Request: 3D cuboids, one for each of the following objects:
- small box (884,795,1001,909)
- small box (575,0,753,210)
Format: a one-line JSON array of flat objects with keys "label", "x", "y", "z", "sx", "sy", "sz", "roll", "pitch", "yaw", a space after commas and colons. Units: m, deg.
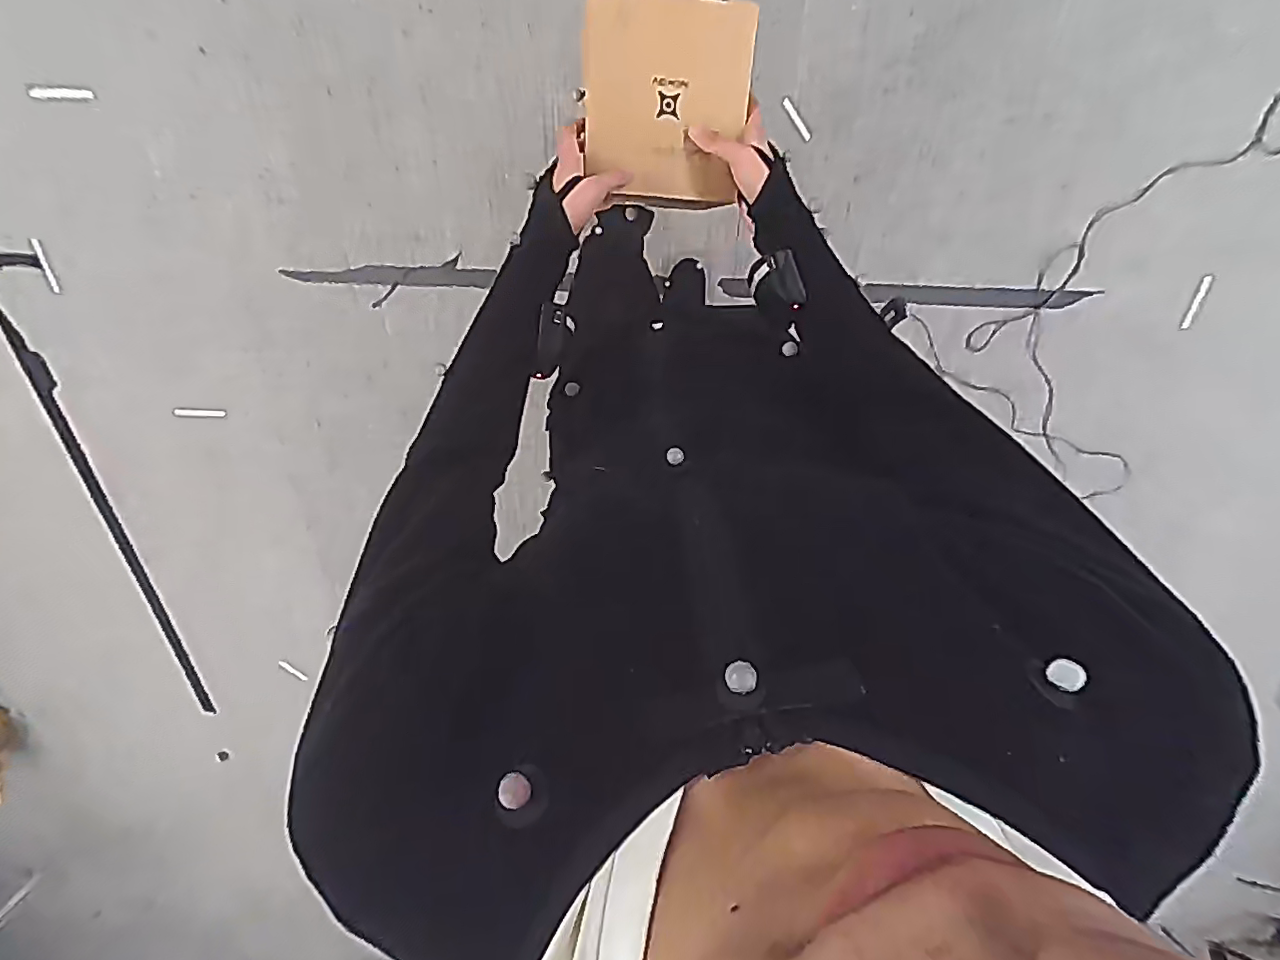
[{"label": "small box", "x": 0.697, "y": 0.868, "z": 1.270, "sx": 0.168, "sy": 0.176, "sz": 0.179, "roll": 0, "pitch": 119, "yaw": 1}, {"label": "small box", "x": 0.013, "y": -0.412, "z": 0.608, "sx": 0.168, "sy": 0.176, "sz": 0.179, "roll": 1, "pitch": 114, "yaw": -8}]
